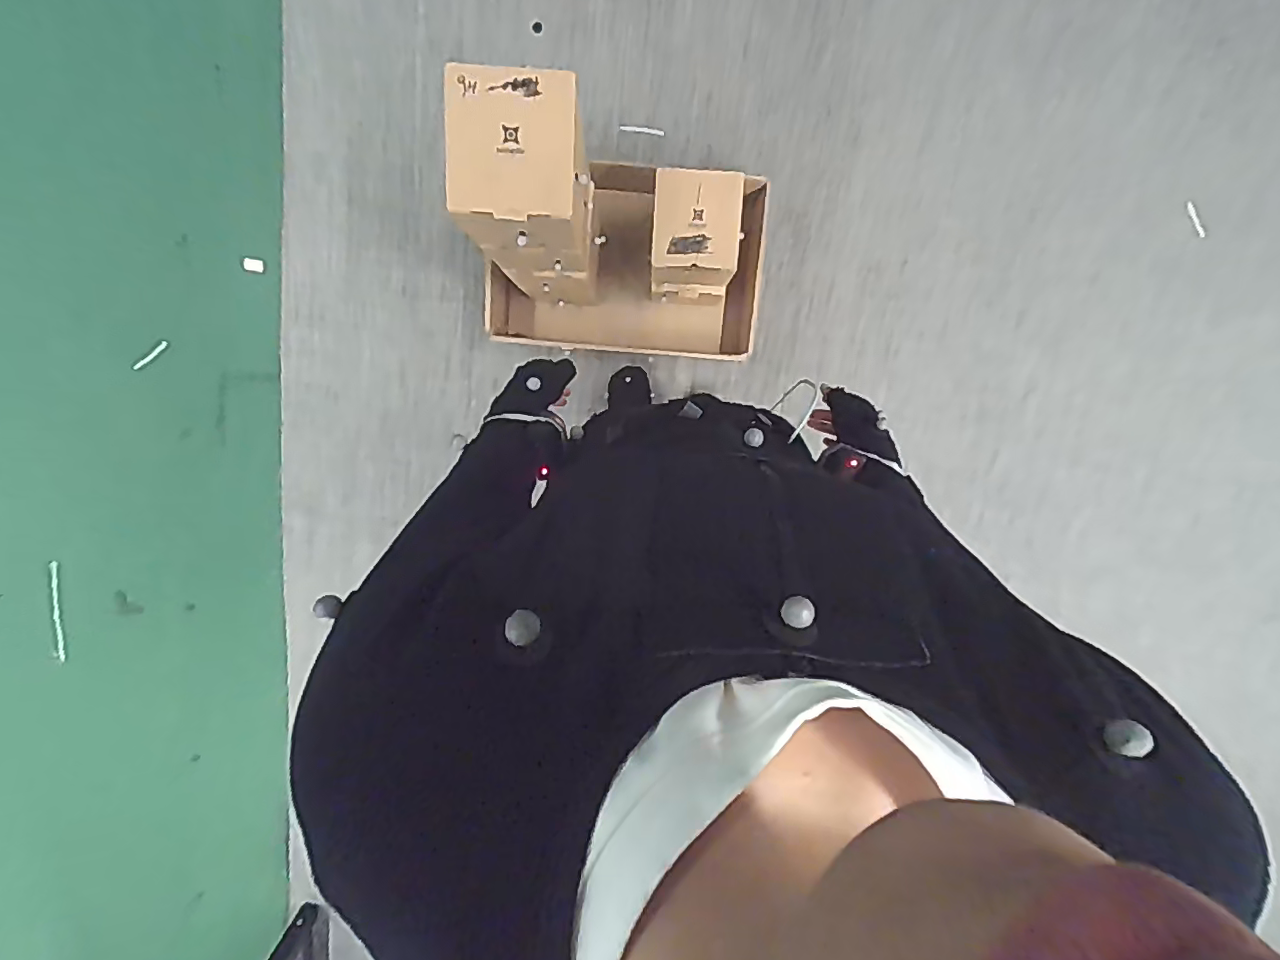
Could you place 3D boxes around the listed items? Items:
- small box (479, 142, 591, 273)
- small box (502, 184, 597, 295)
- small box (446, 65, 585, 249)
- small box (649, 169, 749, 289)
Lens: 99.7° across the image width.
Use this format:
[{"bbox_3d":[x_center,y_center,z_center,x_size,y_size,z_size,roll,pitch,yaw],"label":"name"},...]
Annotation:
[{"bbox_3d":[-0.173,-0.463,0.927,0.168,0.176,0.179,3,99,-3],"label":"small box"},{"bbox_3d":[-0.175,-0.484,1.090,0.168,0.176,0.179,5,100,-2],"label":"small box"},{"bbox_3d":[-0.167,-0.439,0.765,0.168,0.176,0.179,3,100,-3],"label":"small box"},{"bbox_3d":[0.109,-0.491,1.084,0.168,0.176,0.179,6,100,-2],"label":"small box"}]
